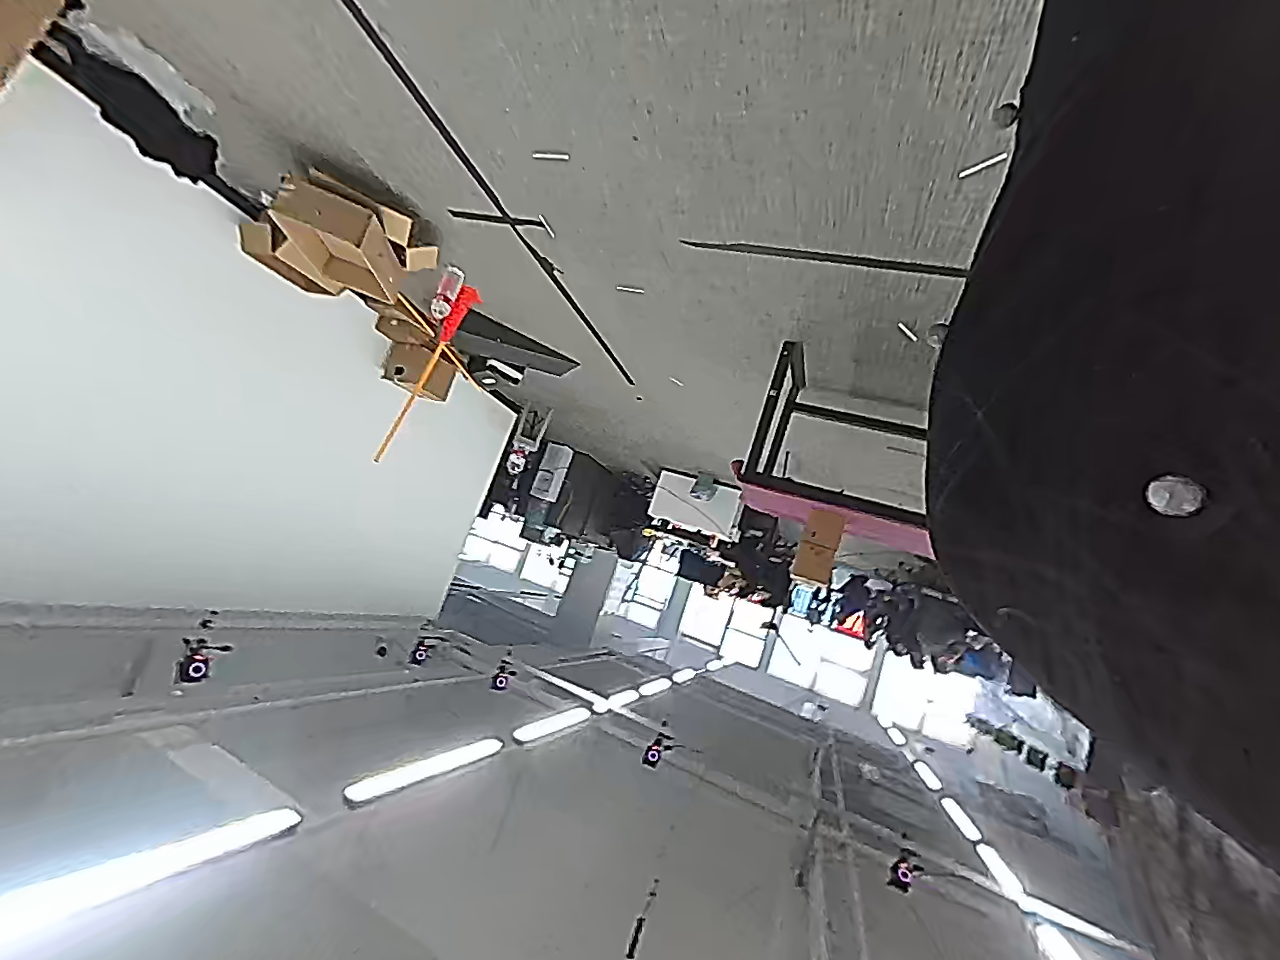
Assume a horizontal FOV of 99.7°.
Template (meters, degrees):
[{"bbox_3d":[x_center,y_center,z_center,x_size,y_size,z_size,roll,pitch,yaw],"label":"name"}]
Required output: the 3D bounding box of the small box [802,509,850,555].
[{"bbox_3d":[0.879,0.243,2.560,0.179,0.176,0.168,16,171,22],"label":"small box"}]
